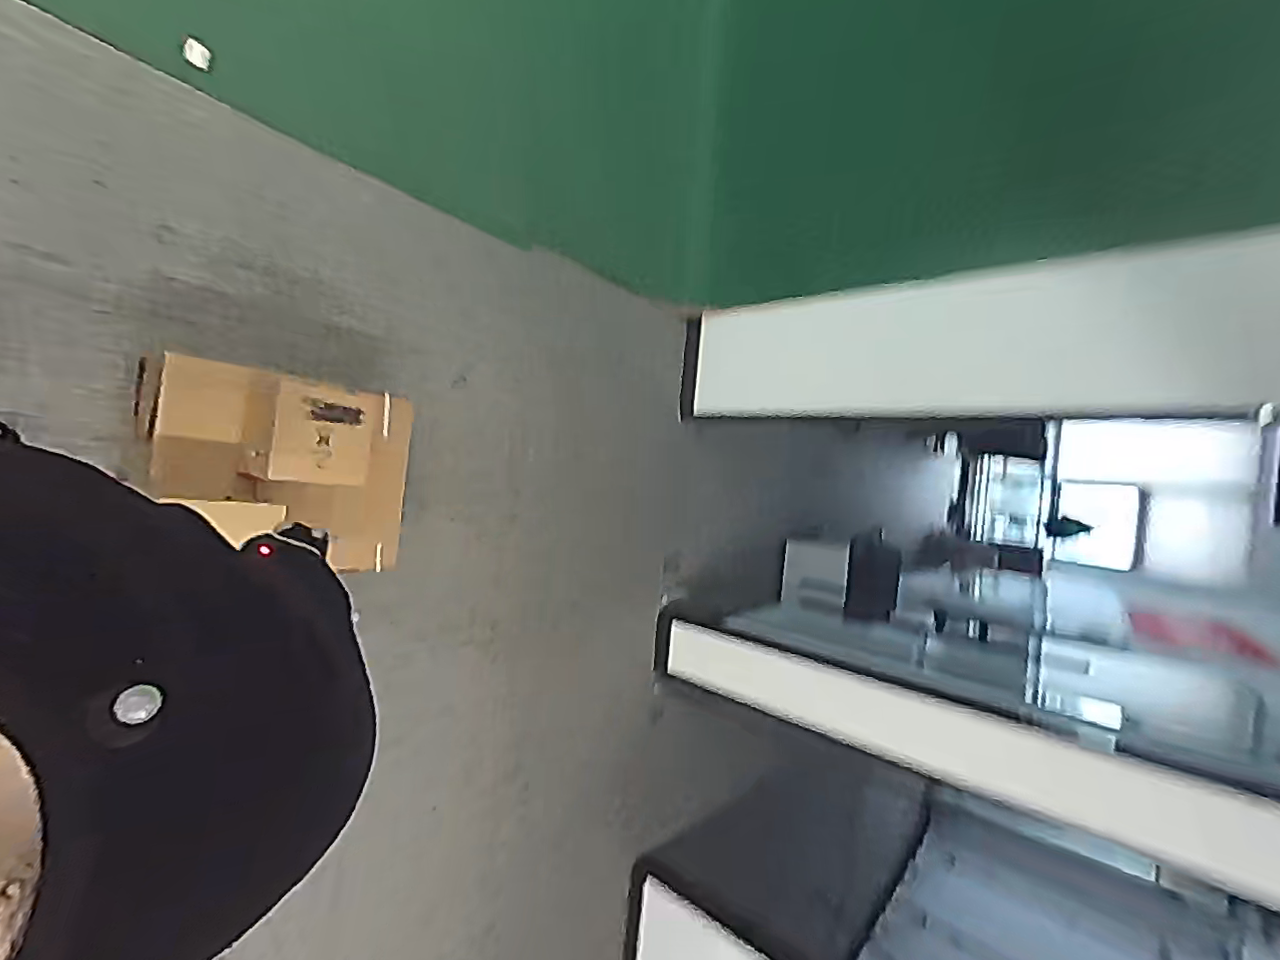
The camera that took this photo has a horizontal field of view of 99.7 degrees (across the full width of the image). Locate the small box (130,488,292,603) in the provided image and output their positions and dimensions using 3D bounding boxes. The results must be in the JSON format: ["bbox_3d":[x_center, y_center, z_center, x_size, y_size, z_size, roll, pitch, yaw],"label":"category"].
[{"bbox_3d":[-0.738,0.107,0.933,0.179,0.176,0.168,9,88,-50],"label":"small box"}]
